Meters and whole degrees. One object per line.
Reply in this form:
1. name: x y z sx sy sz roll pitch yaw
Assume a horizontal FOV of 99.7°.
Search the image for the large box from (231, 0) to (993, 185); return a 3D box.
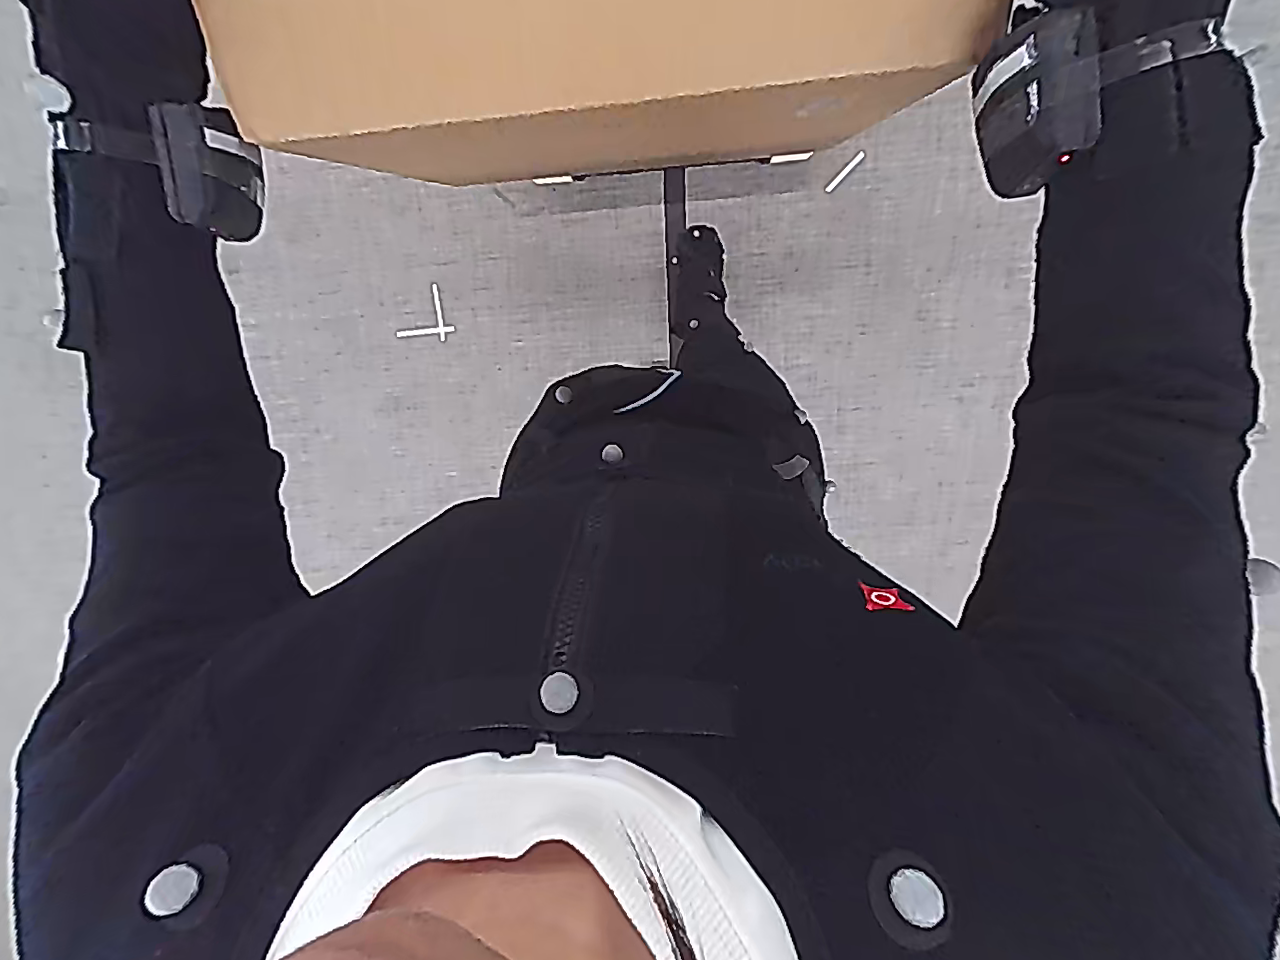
1. large box: -0.025 -0.413 0.373 0.408 0.320 0.320 -4 115 5
